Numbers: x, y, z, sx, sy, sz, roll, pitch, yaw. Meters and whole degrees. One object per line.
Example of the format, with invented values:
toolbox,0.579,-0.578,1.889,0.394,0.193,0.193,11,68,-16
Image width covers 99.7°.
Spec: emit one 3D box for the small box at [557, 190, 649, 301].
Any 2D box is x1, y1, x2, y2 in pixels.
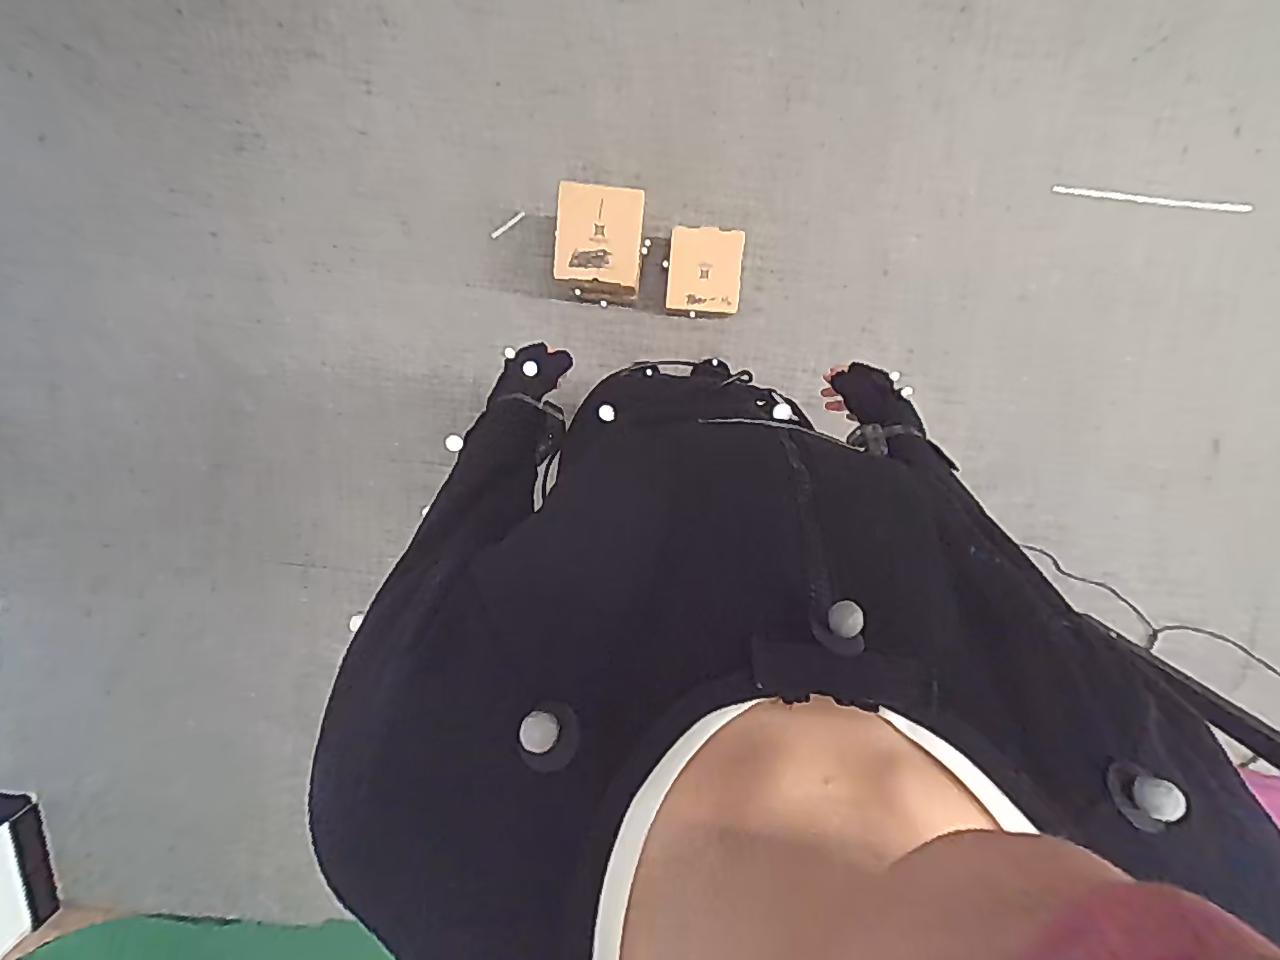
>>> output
small box,-0.072,-0.474,1.118,0.168,0.176,0.179,6,102,0
